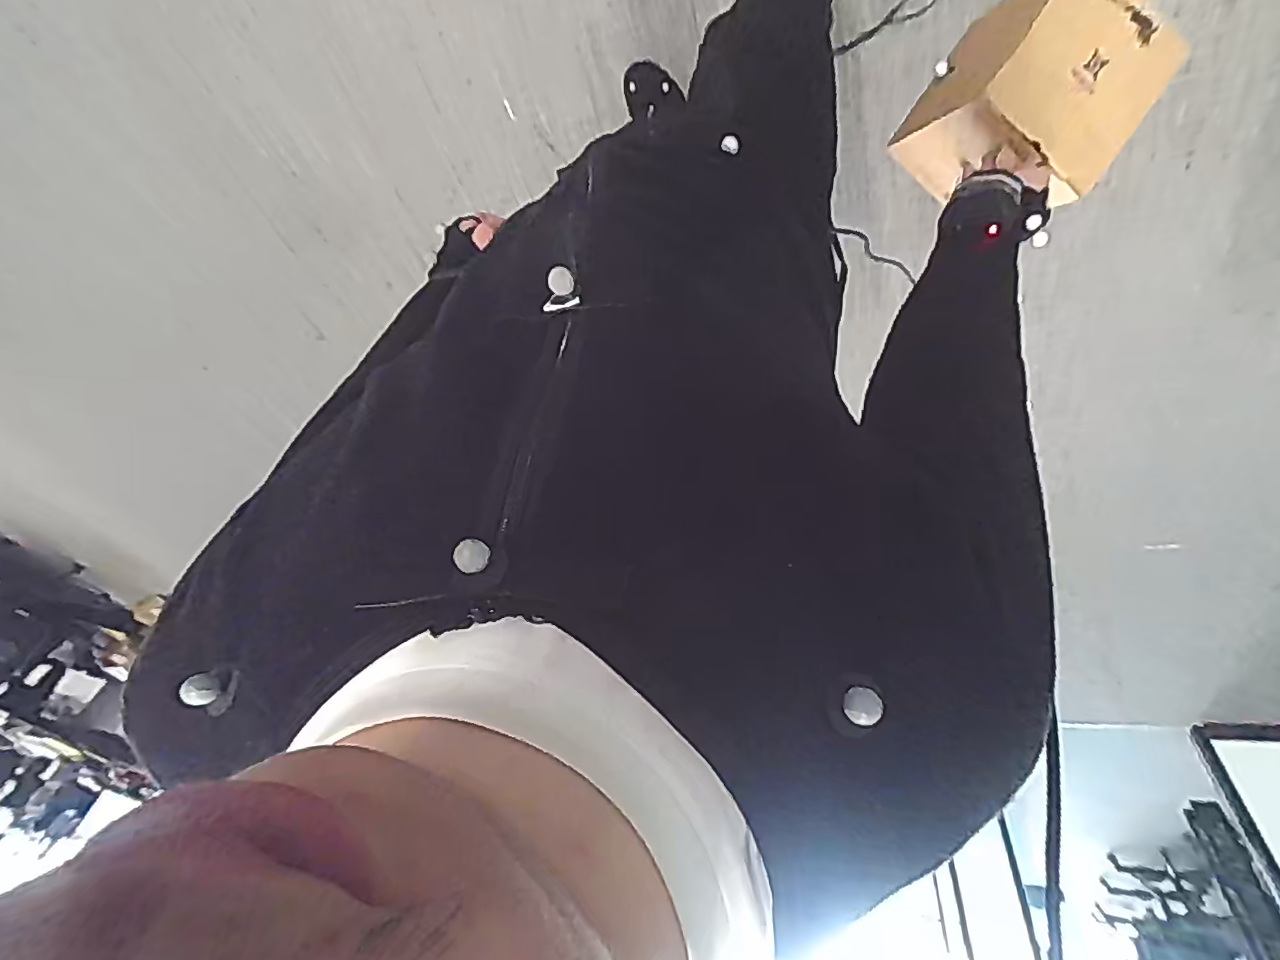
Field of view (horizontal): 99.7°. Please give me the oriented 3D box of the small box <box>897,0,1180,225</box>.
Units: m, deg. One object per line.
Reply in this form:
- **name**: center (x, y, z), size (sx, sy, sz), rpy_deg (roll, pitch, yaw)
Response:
- **small box**: center (0.436, -0.430, 0.627), size (0.168, 0.176, 0.179), rpy_deg (33, 96, -16)
